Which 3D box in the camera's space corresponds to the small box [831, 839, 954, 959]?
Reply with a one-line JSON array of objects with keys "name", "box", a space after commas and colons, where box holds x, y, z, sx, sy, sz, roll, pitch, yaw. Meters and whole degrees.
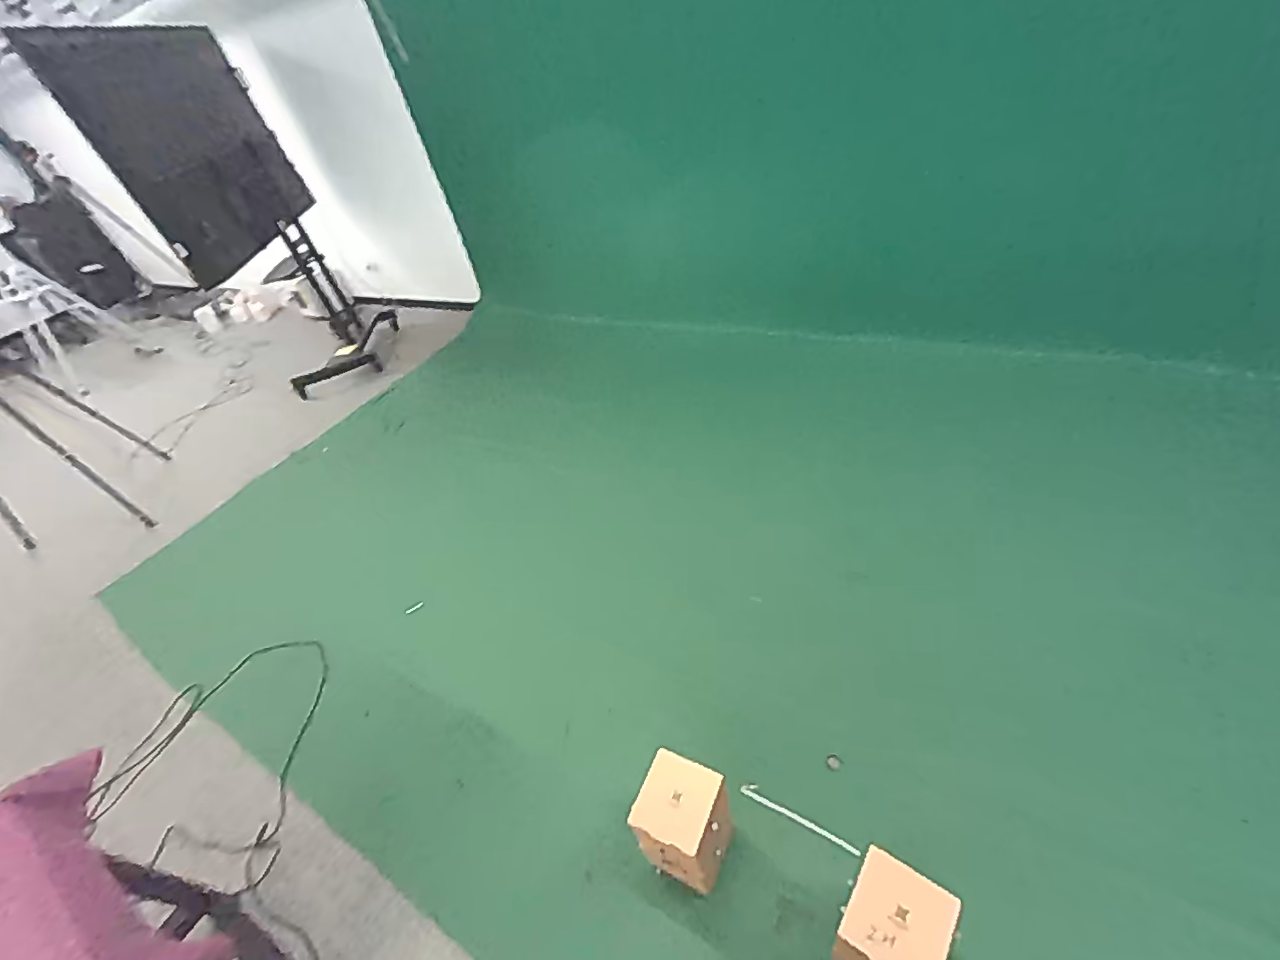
[{"name": "small box", "box": [0.482, 0.855, 1.051, 0.168, 0.176, 0.179, 20, 52, 34]}]

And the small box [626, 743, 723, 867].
[{"name": "small box", "box": [0.089, 0.764, 1.272, 0.168, 0.176, 0.179, 12, 48, 27]}]

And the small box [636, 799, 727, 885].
[{"name": "small box", "box": [0.114, 0.886, 1.376, 0.168, 0.176, 0.179, 13, 48, 28]}]
